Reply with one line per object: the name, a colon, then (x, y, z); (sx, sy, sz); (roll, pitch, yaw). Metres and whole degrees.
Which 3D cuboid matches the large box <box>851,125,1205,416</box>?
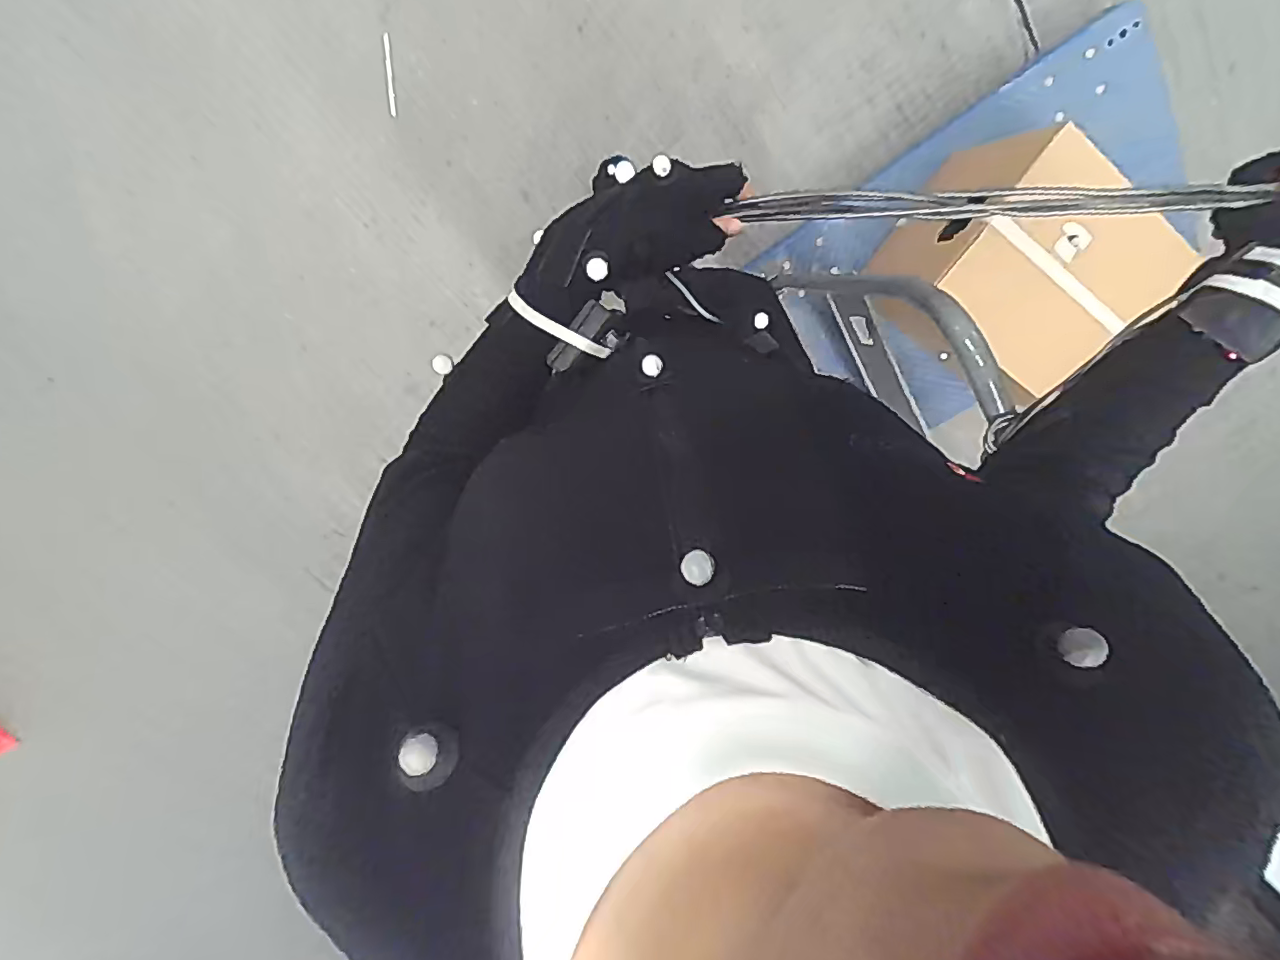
large box: (0.707, -0.389, 1.050); (0.408, 0.320, 0.320); (31, 109, -14)
